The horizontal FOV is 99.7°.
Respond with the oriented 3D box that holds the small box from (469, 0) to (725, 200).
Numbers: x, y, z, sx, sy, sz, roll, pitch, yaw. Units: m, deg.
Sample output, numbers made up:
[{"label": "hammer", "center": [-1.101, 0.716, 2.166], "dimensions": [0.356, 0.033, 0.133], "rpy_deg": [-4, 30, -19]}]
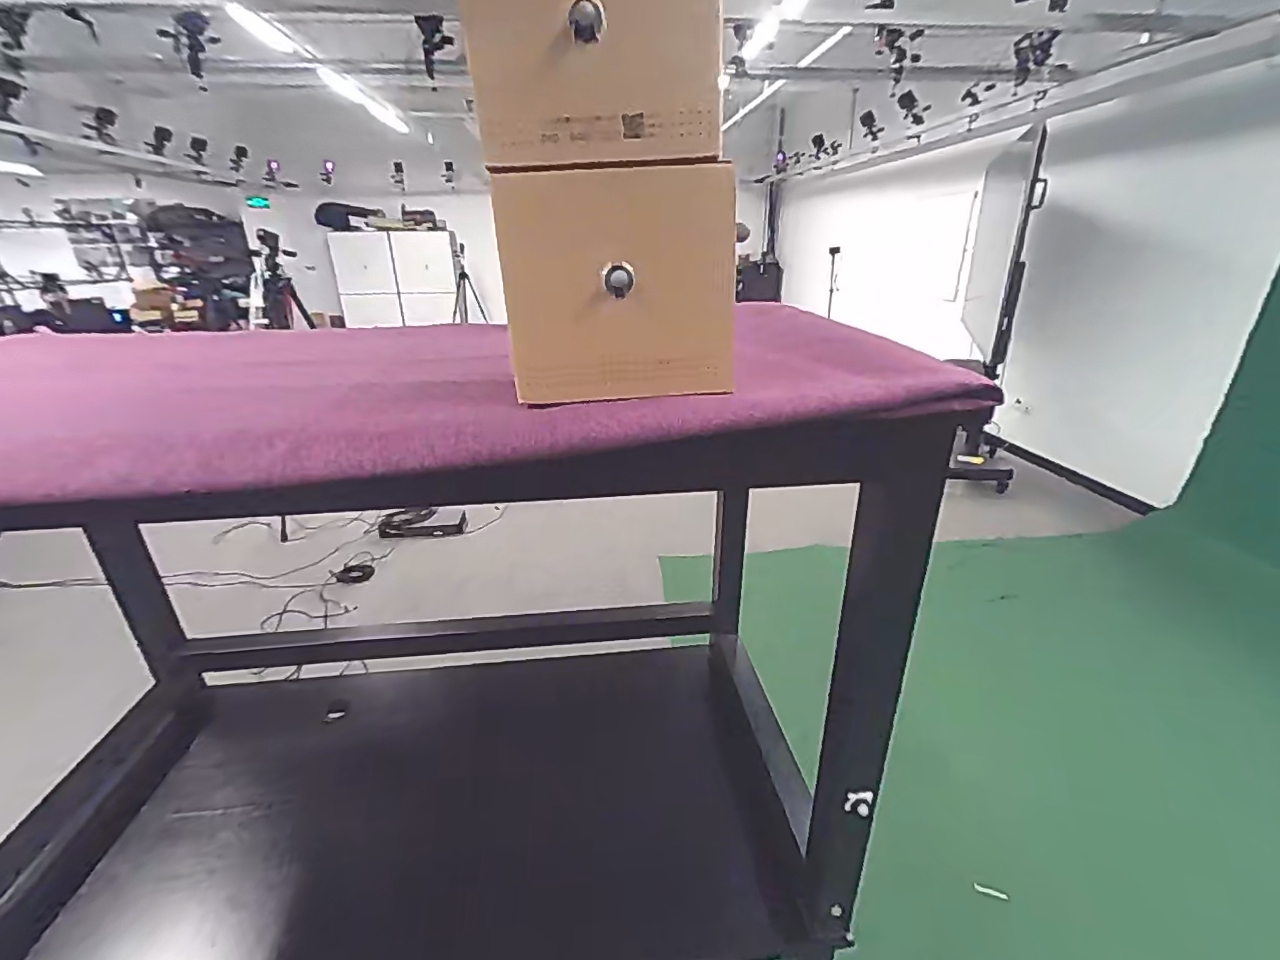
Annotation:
[{"label": "small box", "center": [-0.030, -0.323, 0.416], "dimensions": [0.168, 0.176, 0.179], "rpy_deg": [-4, 22, -3]}]
